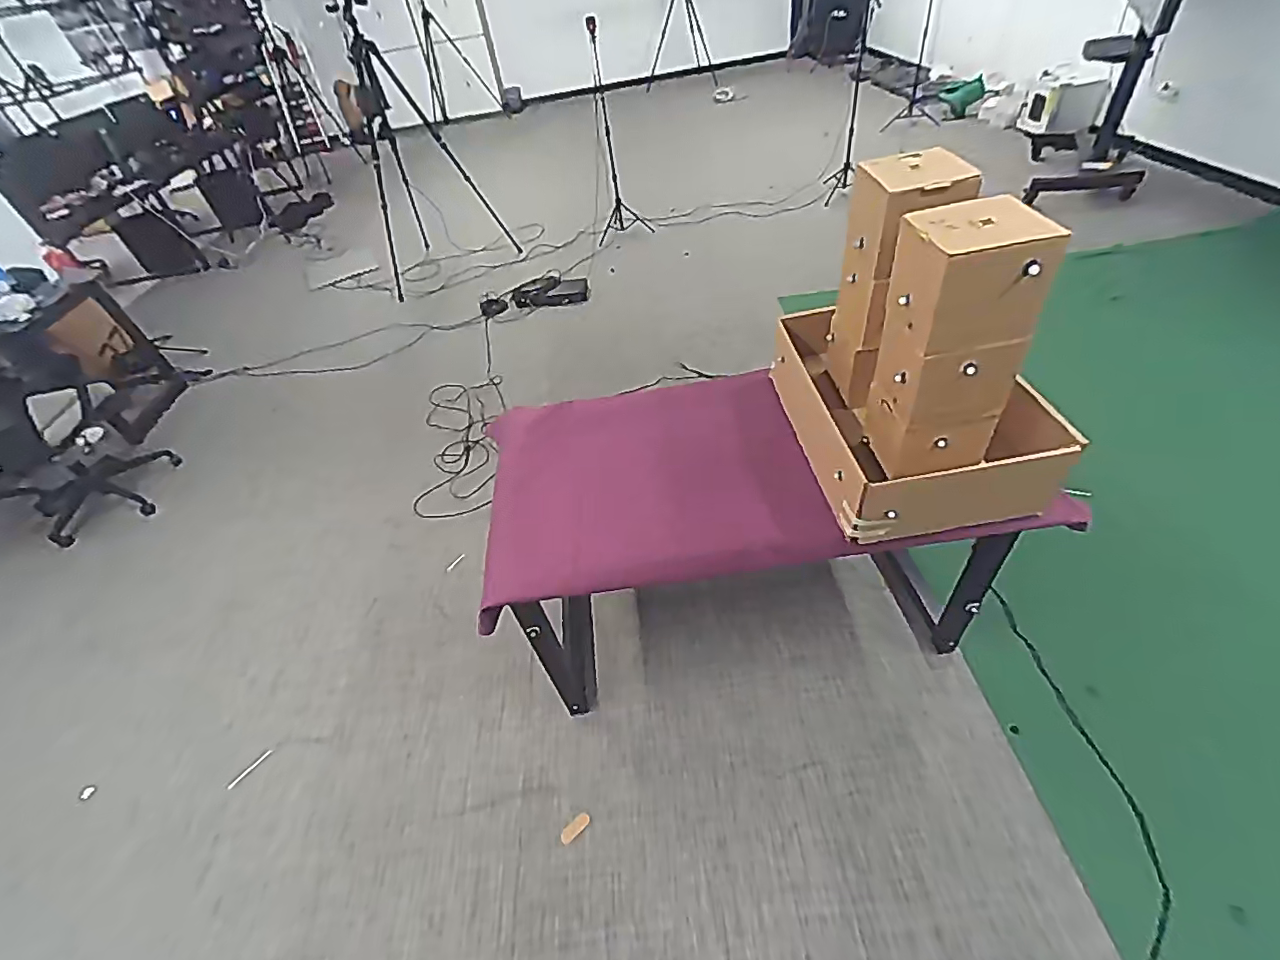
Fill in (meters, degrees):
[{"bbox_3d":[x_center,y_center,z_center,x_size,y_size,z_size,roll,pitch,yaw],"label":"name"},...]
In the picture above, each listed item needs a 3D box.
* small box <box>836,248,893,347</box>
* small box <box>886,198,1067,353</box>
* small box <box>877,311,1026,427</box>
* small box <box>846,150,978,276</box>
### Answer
[{"bbox_3d":[0.544,-0.406,1.185,0.168,0.176,0.179,-8,46,3],"label":"small box"},{"bbox_3d":[0.529,-0.331,0.883,0.179,0.176,0.168,-9,45,4],"label":"small box"},{"bbox_3d":[0.554,-0.214,0.997,0.179,0.176,0.168,-8,45,4],"label":"small box"},{"bbox_3d":[0.523,-0.519,1.068,0.168,0.176,0.179,-8,47,3],"label":"small box"}]
